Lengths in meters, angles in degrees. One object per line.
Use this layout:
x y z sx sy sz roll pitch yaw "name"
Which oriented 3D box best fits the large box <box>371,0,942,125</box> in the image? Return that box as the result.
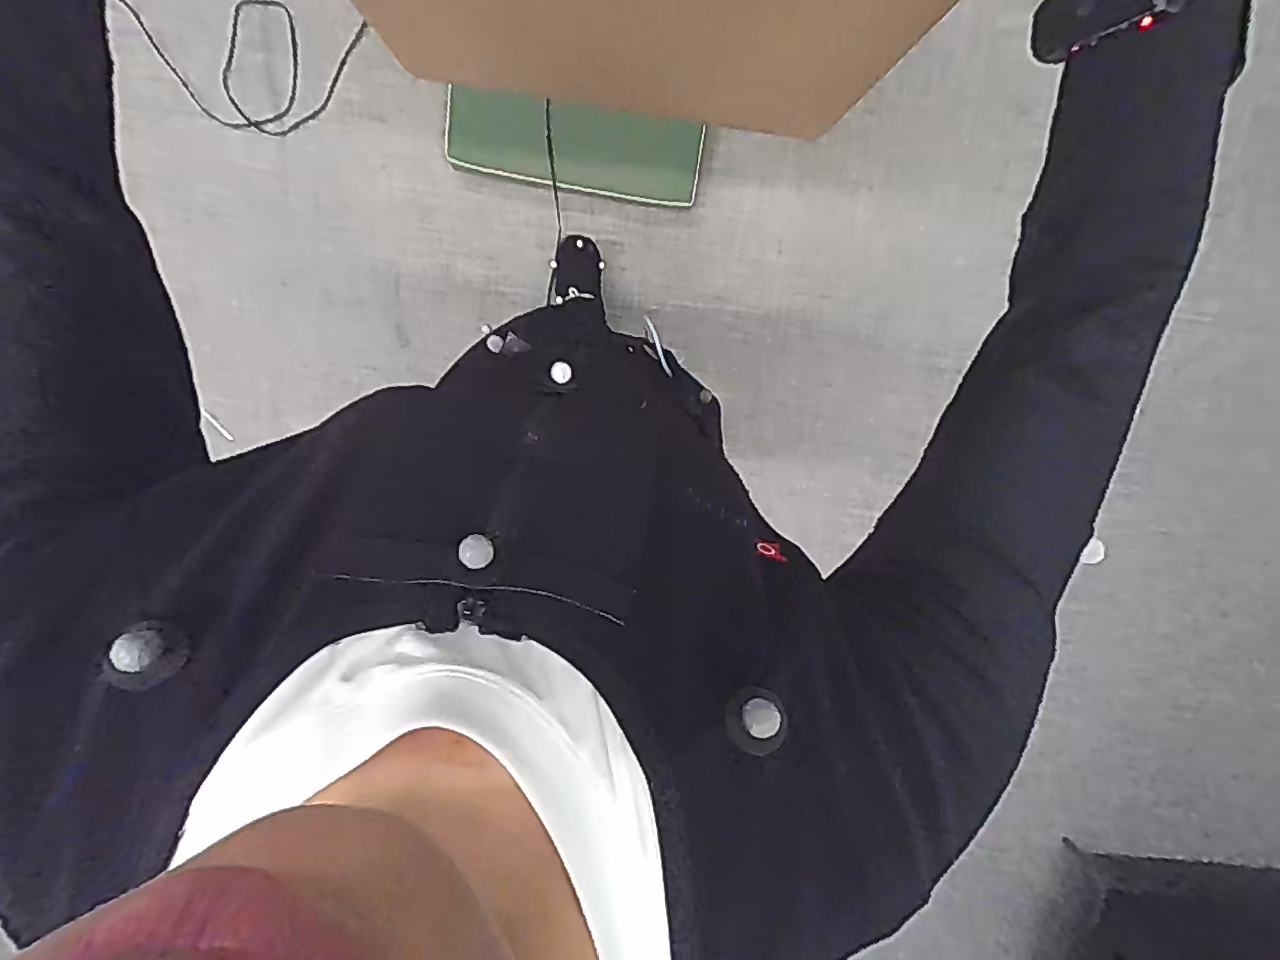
0.009 -0.477 0.344 0.408 0.320 0.320 6 105 -5 "large box"
